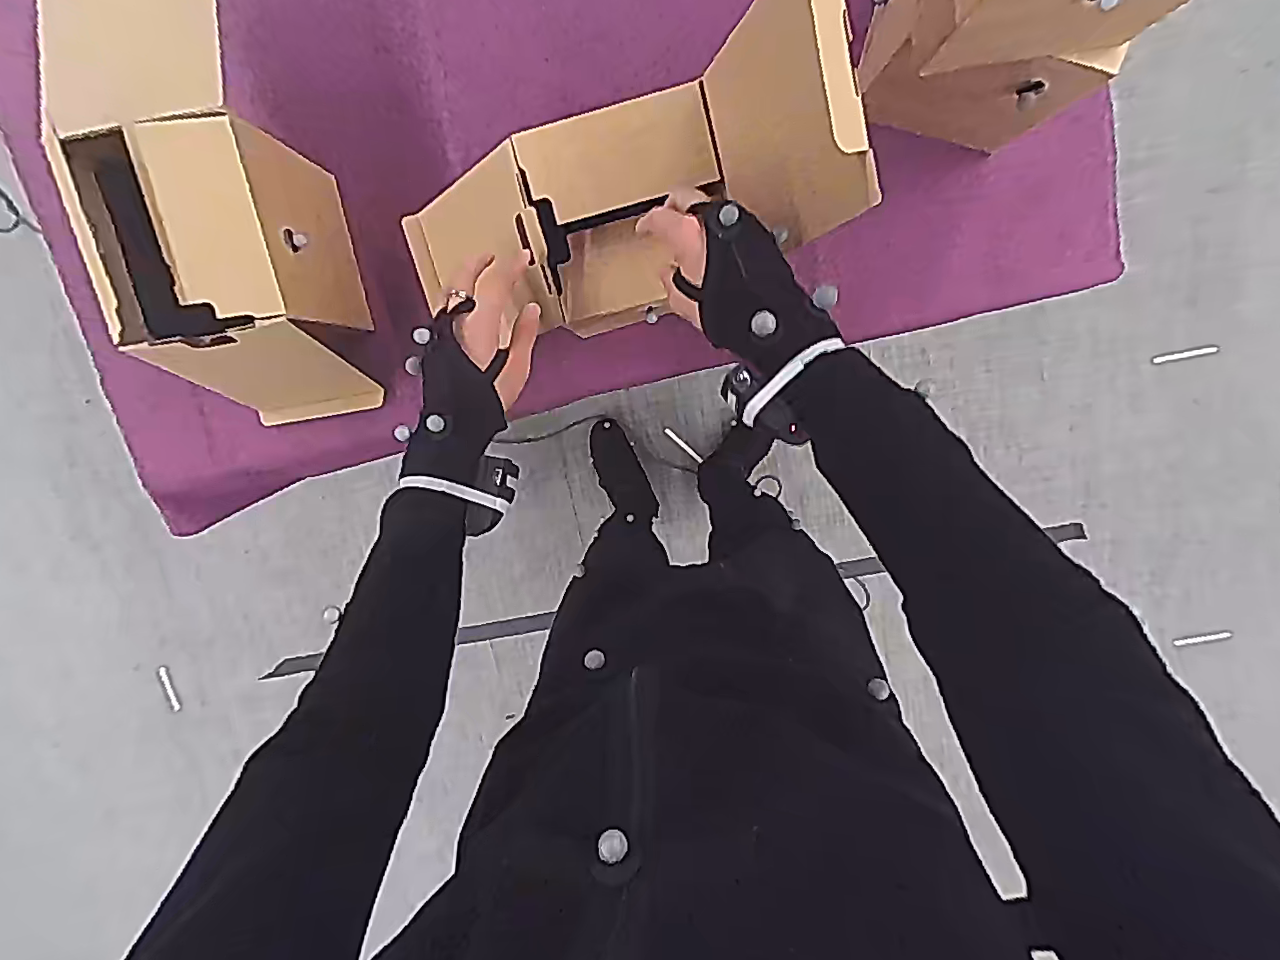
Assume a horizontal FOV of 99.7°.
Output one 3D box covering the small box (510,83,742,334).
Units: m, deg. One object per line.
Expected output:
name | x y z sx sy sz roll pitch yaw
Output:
small box | -0.009 -0.252 0.551 0.179 0.176 0.168 -14 102 3

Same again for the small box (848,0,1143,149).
small box | 0.329 -0.442 0.506 0.179 0.176 0.168 14 101 -2
